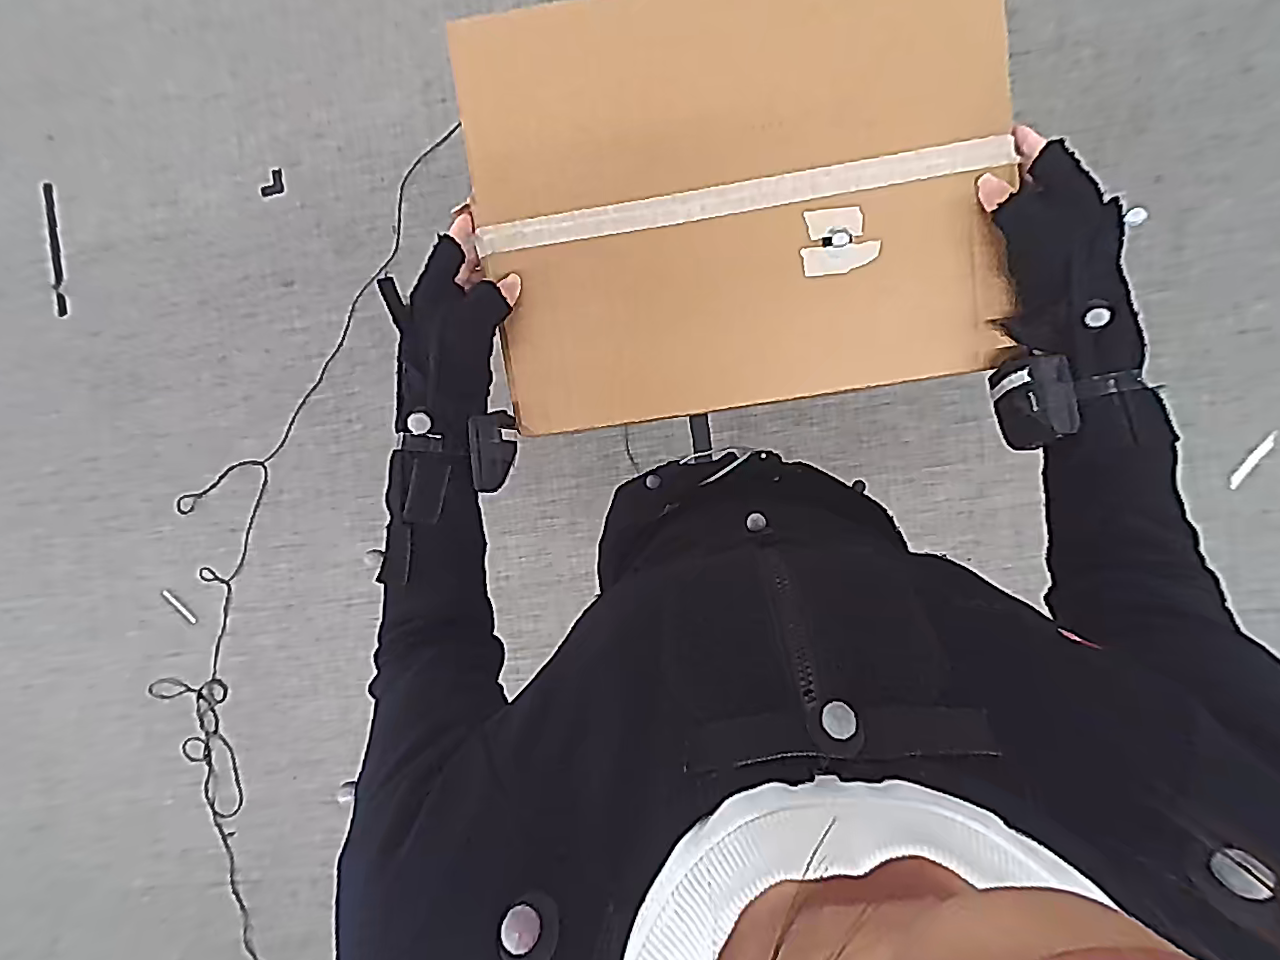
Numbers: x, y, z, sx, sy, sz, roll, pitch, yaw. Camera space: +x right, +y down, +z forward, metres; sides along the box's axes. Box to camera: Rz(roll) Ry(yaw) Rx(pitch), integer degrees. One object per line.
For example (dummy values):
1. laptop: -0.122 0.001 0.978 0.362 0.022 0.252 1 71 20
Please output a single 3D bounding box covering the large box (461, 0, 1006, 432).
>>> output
1. large box: 0.080 -0.238 0.577 0.408 0.320 0.320 -8 97 3
